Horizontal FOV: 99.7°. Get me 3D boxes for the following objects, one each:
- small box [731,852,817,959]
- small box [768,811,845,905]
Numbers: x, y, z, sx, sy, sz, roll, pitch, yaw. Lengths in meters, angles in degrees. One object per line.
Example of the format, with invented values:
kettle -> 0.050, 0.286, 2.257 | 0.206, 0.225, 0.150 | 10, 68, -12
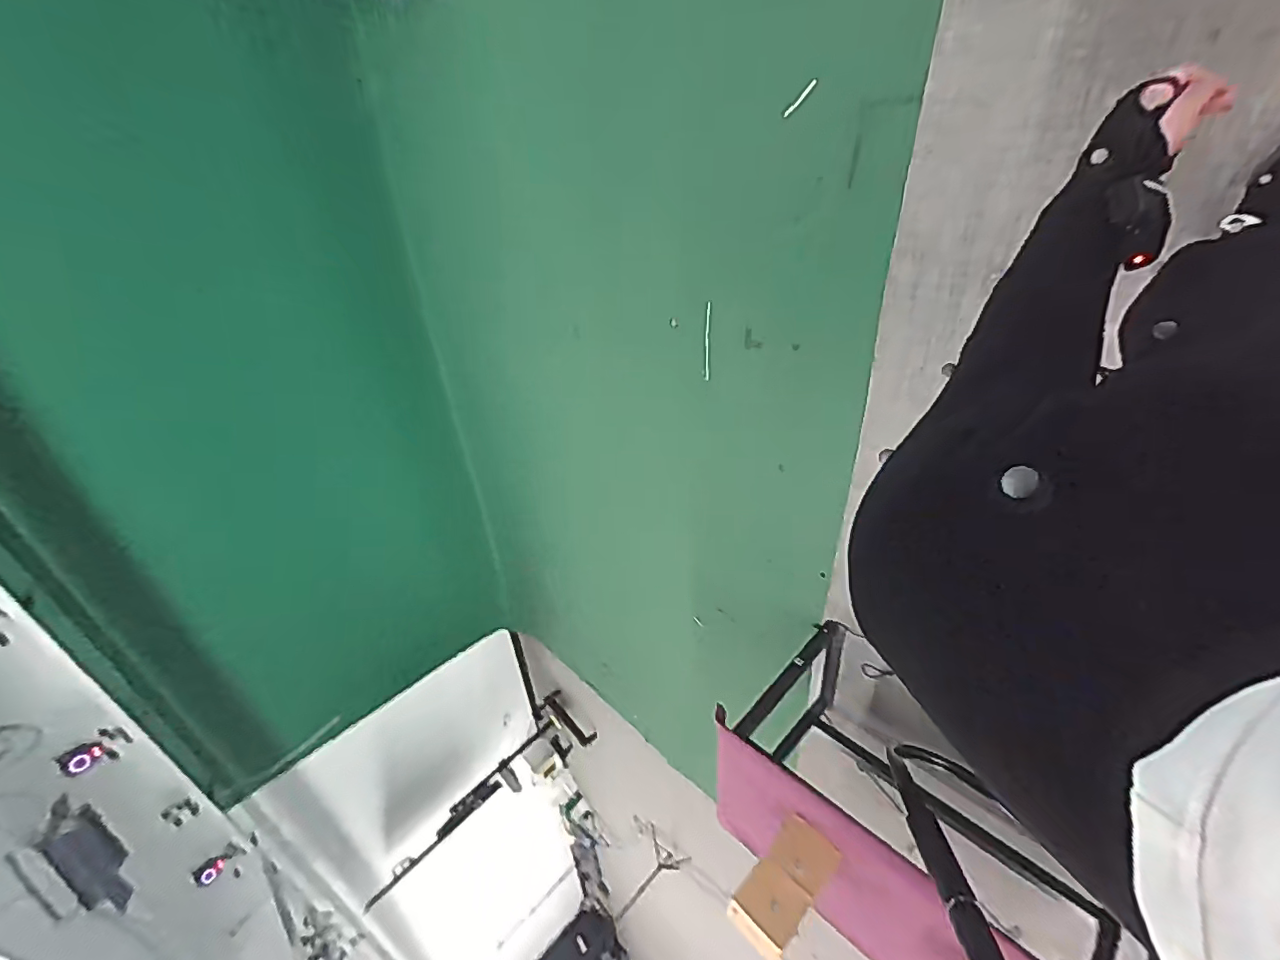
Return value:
small box -> 0.398, 1.261, 1.603 | 0.179, 0.176, 0.168 | 31, 136, 32
small box -> 0.512, 1.191, 1.696 | 0.179, 0.176, 0.168 | 34, 139, 31
